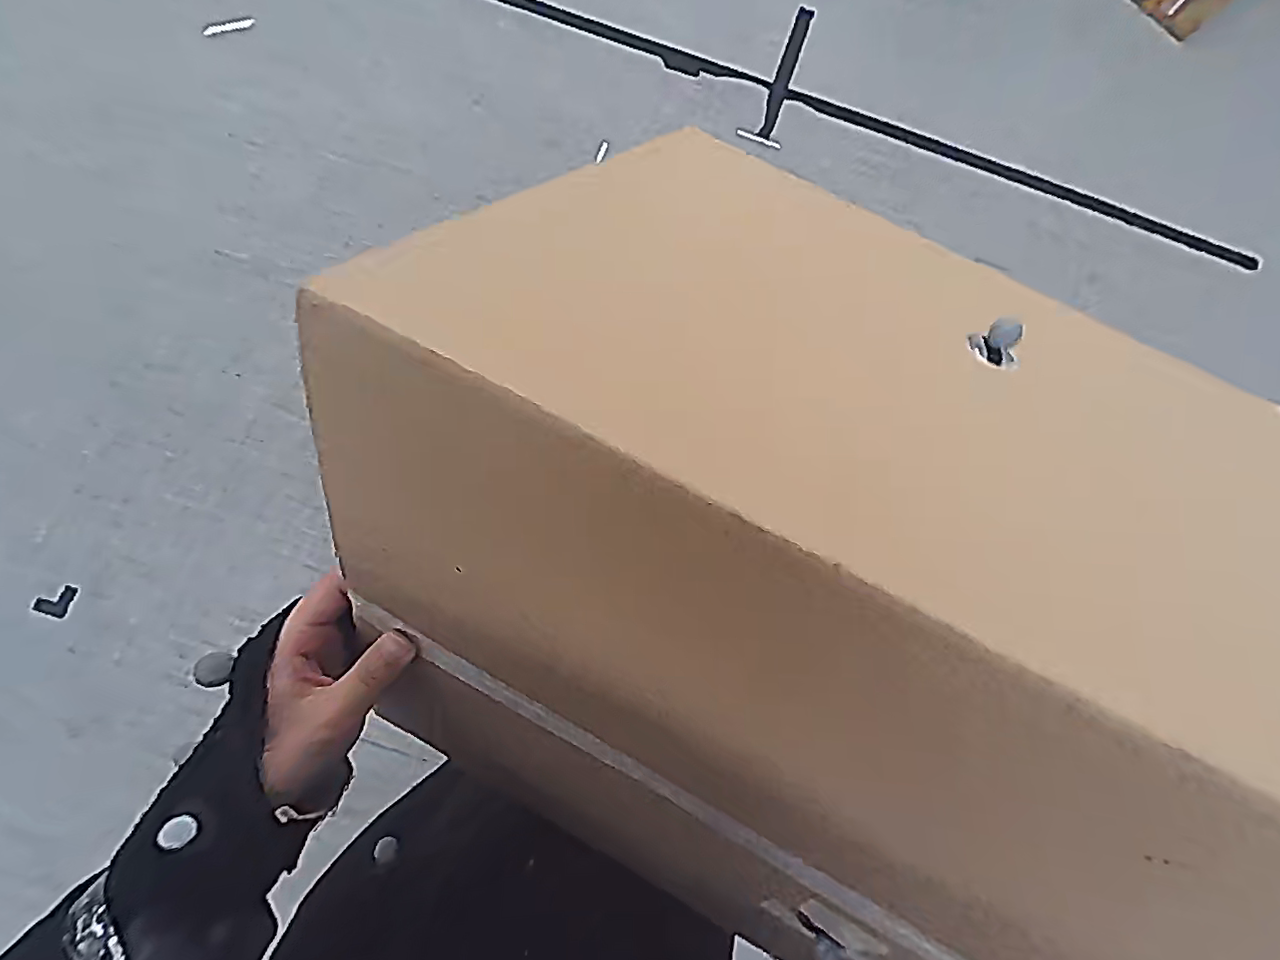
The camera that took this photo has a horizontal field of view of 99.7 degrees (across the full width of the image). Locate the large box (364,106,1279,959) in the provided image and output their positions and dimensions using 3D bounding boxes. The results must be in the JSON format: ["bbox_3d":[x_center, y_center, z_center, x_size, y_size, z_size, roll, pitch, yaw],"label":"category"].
[{"bbox_3d":[0.119,0.028,0.328,0.408,0.320,0.320,27,45,5],"label":"large box"}]
